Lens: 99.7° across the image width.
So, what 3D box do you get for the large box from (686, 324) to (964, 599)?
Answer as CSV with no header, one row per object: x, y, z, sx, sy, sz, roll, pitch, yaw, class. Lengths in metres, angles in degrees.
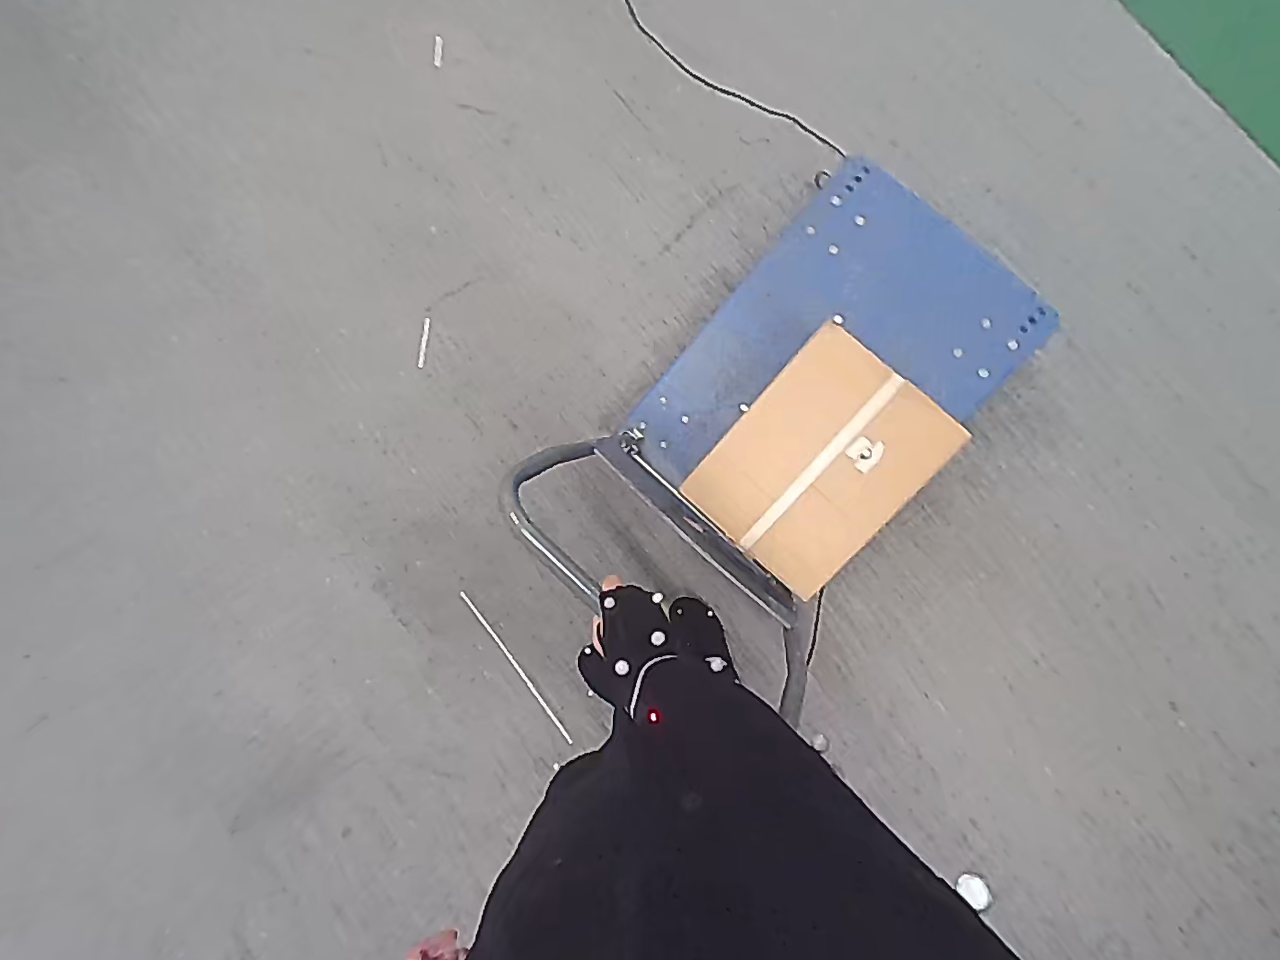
0.345,-0.035,1.114,0.320,0.320,0.408,41,99,5,large box
